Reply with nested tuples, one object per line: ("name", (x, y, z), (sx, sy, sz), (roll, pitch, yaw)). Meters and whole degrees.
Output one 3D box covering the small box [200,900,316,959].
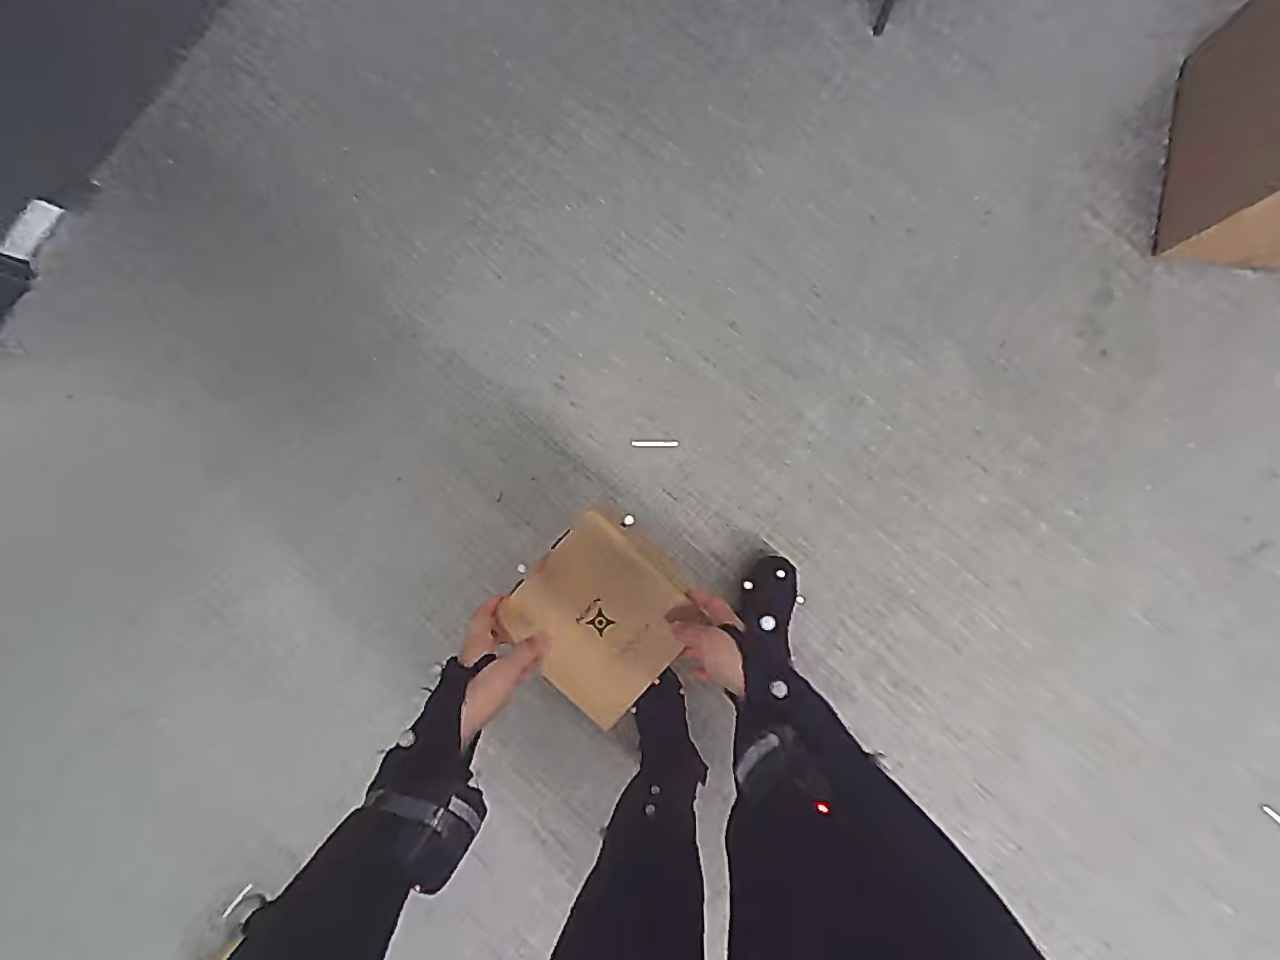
("small box", (-0.839, 1.059, 1.145), (0.168, 0.176, 0.179), (-37, 85, 4))
